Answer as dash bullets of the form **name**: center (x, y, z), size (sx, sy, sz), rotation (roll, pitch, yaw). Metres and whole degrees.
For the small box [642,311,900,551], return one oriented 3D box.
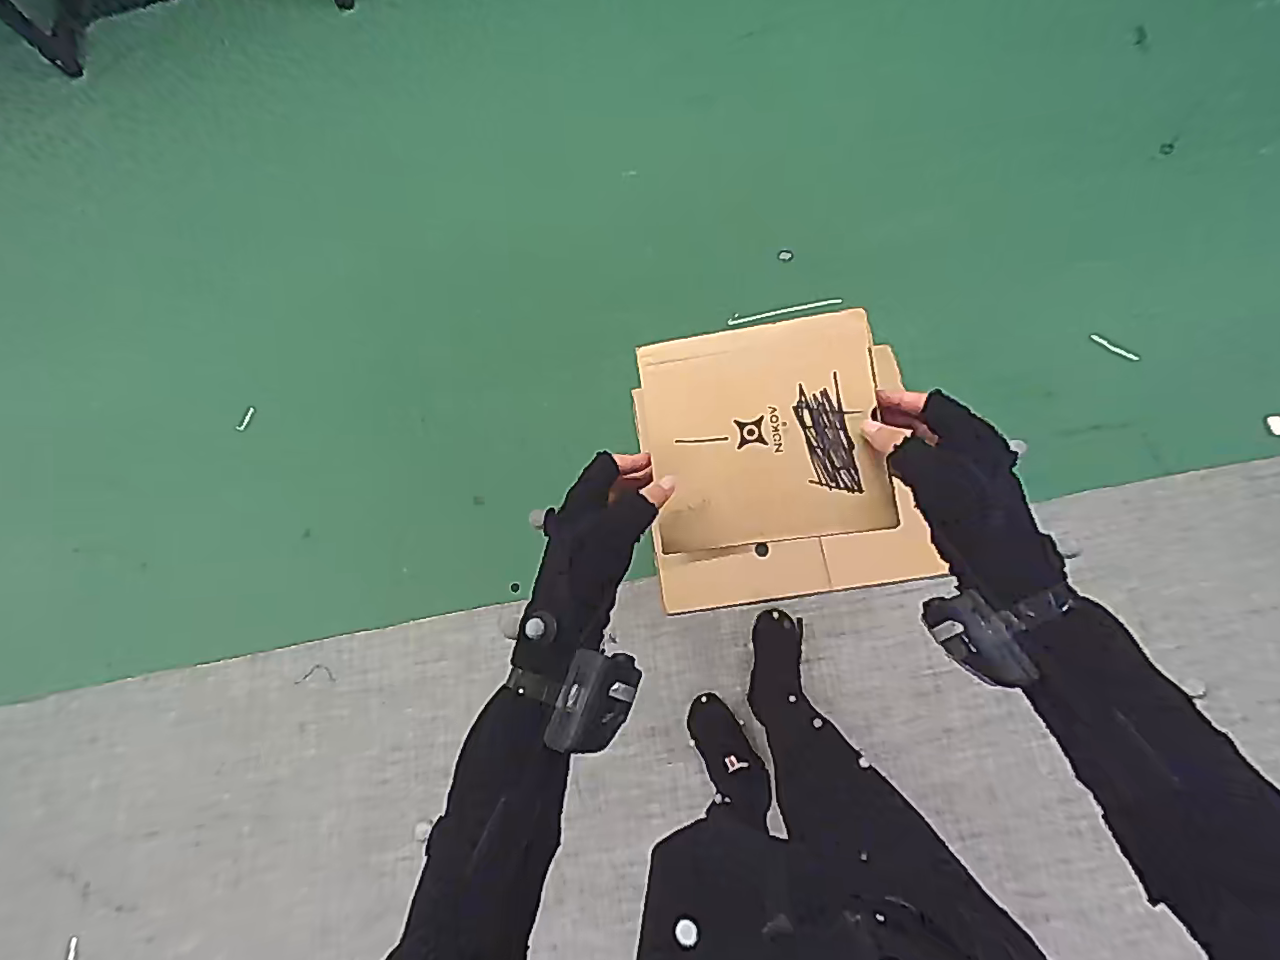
- **small box**: center (0.106, -0.031, 0.487), size (0.179, 0.176, 0.168), rotation (-8, 84, 9)
